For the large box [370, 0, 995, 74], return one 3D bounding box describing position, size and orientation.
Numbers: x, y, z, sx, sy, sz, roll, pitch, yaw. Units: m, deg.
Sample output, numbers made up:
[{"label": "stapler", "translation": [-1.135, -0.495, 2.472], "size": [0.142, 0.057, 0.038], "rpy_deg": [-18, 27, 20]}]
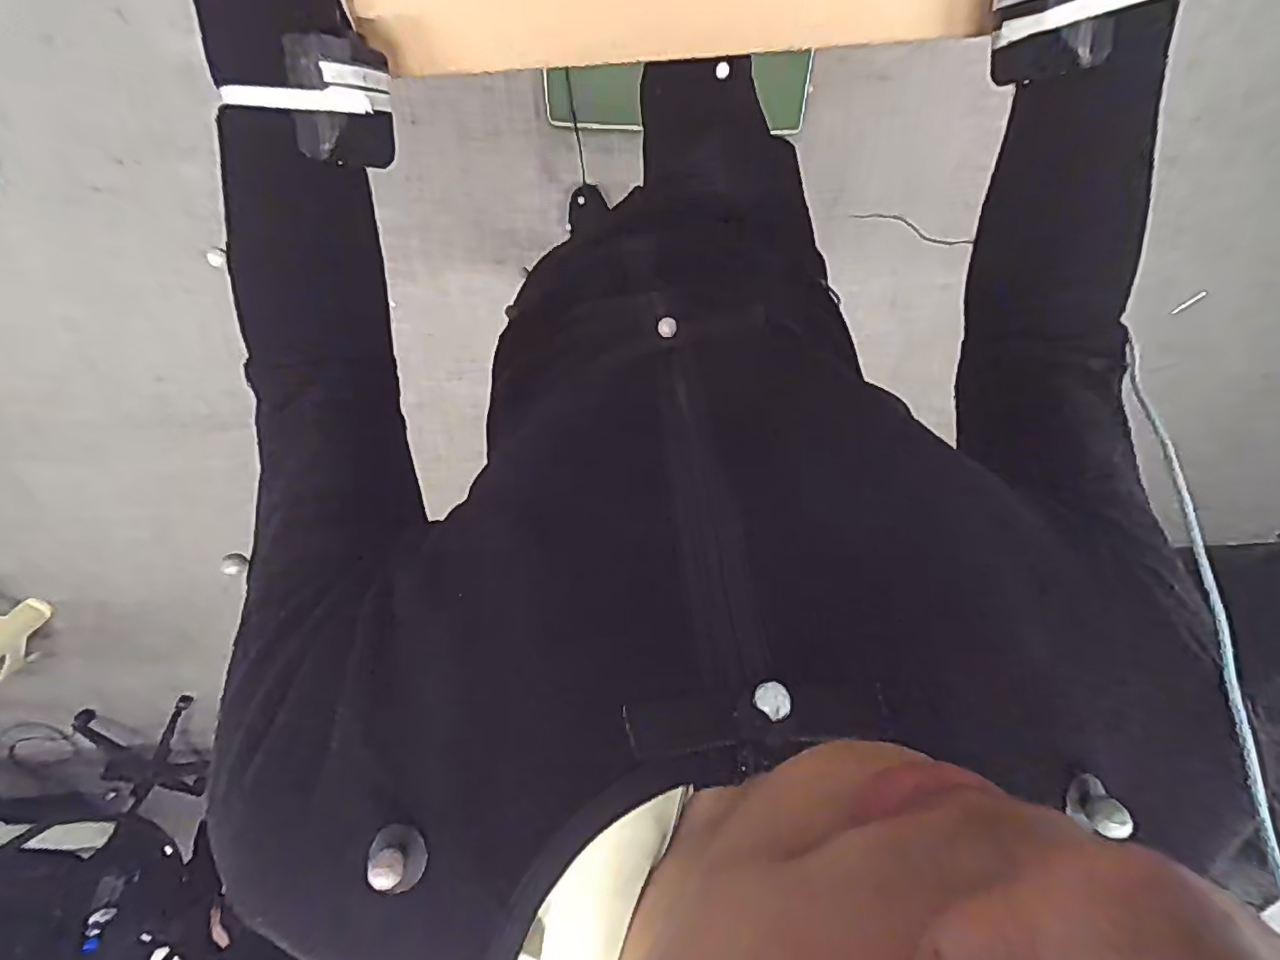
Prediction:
[{"label": "large box", "translation": [0.015, -0.498, 0.342], "size": [0.408, 0.320, 0.320], "rpy_deg": [-4, 139, 1]}]
